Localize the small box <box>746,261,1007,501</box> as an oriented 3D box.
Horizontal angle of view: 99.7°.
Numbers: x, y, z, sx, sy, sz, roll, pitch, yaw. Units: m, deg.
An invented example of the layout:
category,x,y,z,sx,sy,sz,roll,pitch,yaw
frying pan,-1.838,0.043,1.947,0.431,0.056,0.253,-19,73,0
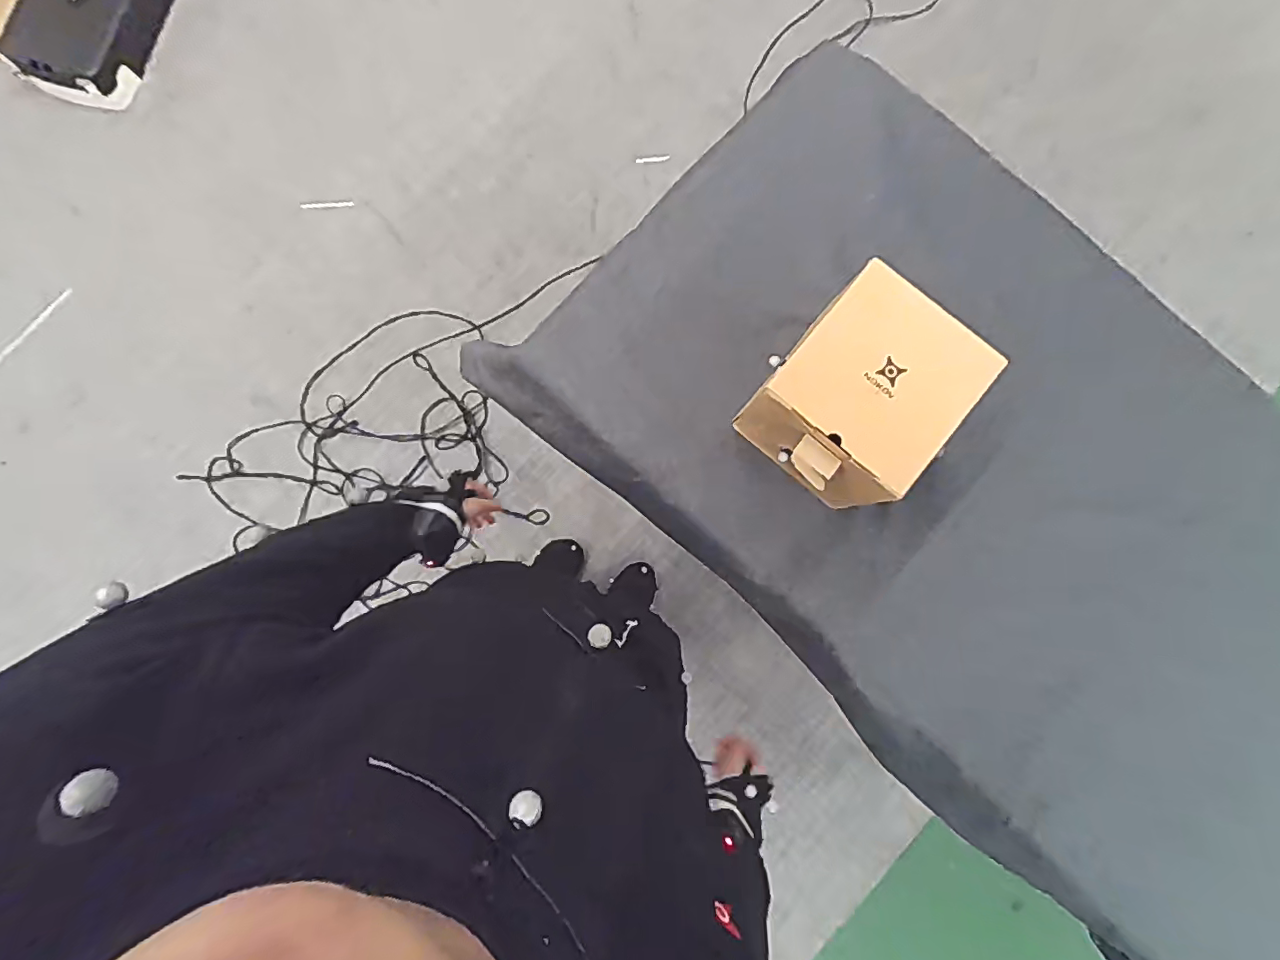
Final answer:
category,x,y,z,sx,sy,sz,roll,pitch,yaw
small box,0.241,-0.094,0.600,0.168,0.176,0.179,39,85,2
